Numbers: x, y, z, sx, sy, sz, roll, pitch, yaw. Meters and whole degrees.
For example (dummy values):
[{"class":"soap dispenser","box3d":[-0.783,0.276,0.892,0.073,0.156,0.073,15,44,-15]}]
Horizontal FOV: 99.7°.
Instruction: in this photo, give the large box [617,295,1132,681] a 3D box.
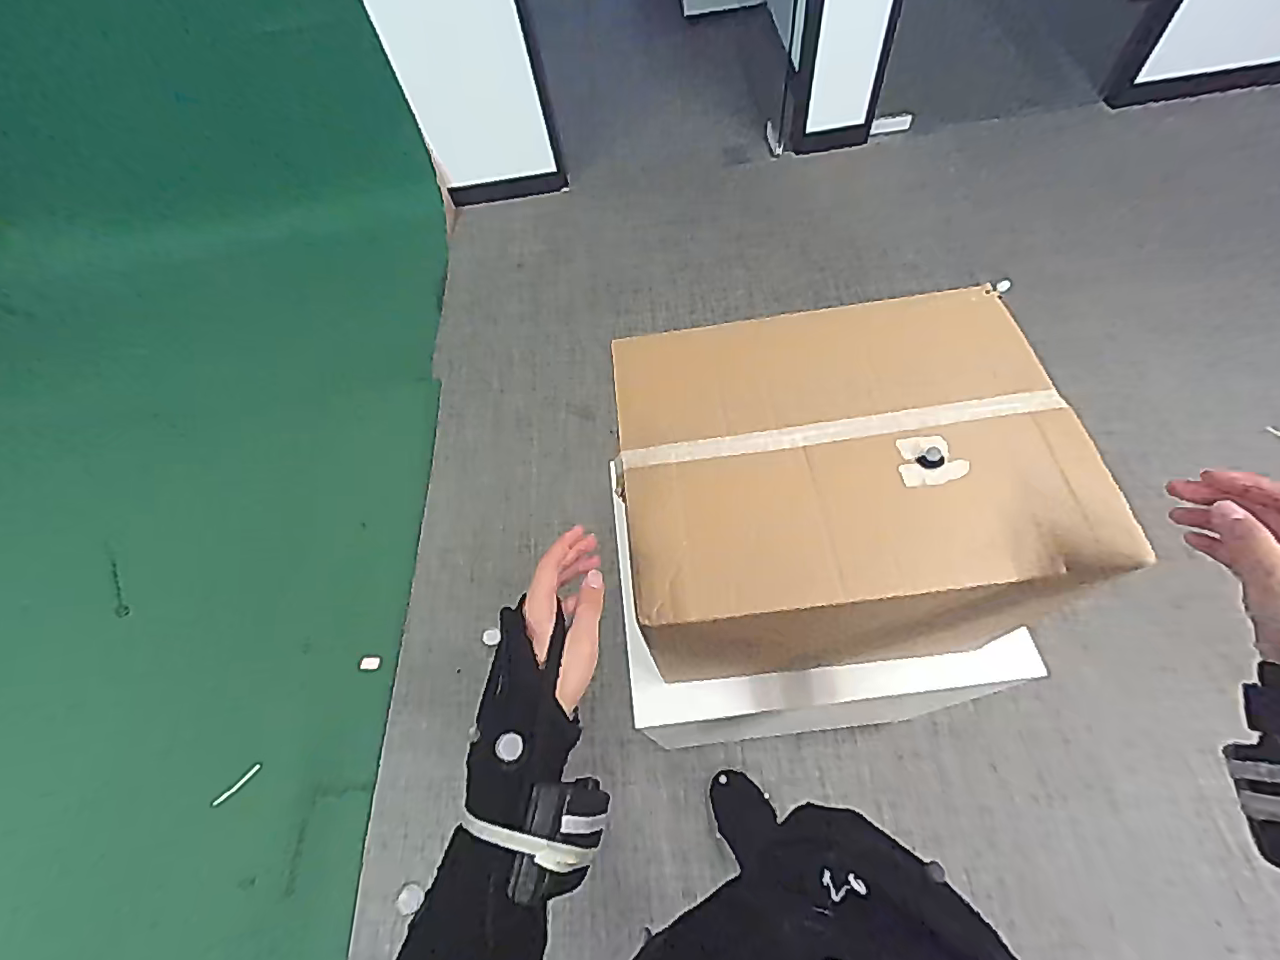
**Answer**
[{"class":"large box","box3d":[0.199,0.031,0.640,0.408,0.320,0.320,-7,61,2]}]
